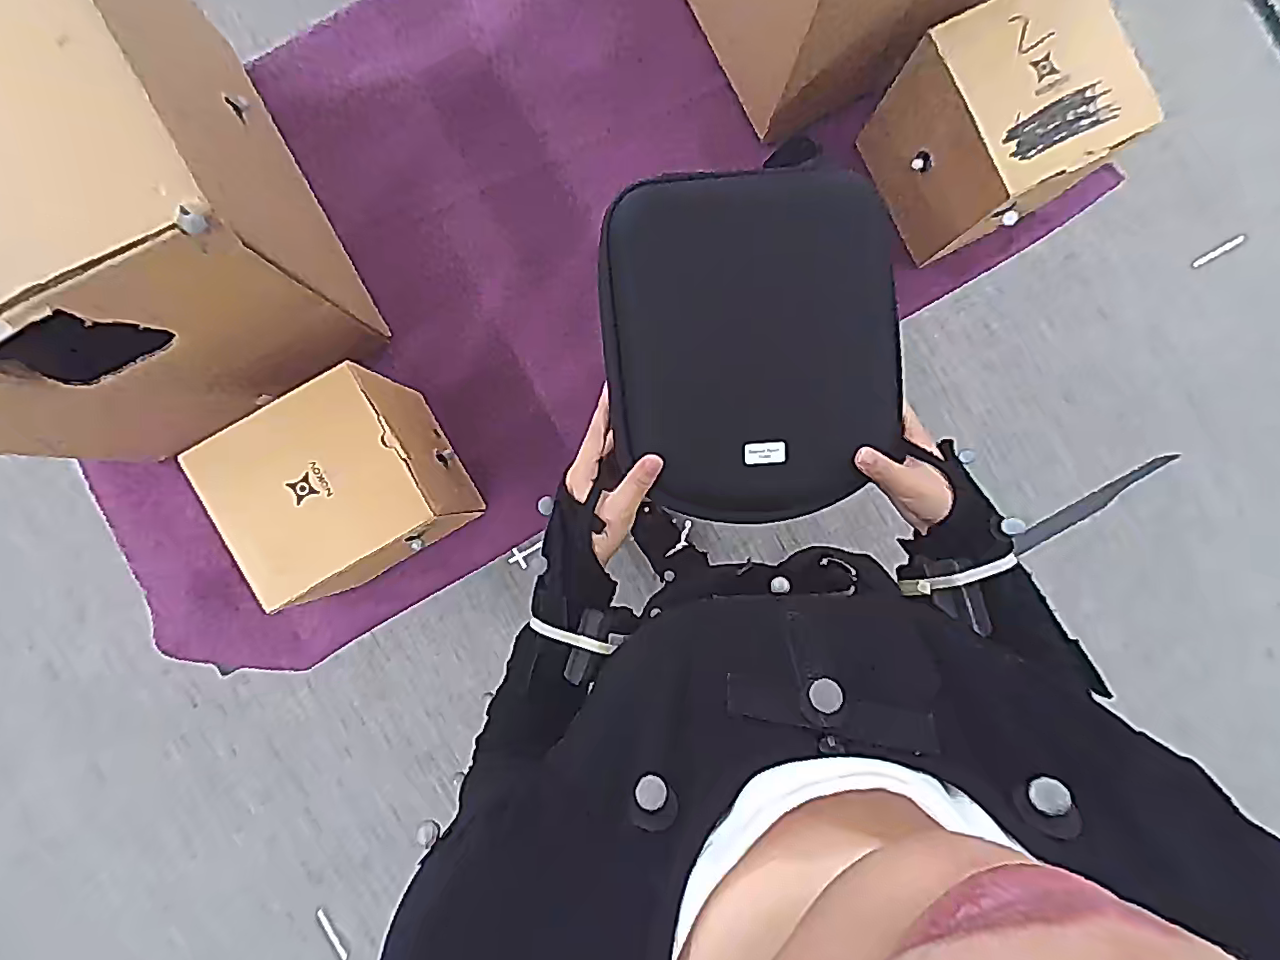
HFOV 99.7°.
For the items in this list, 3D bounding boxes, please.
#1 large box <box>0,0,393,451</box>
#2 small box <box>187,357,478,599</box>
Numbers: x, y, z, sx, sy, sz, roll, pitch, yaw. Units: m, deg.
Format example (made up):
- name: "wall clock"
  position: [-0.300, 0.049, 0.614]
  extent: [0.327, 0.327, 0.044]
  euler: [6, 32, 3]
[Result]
- name: "large box"
  position: [-0.516, -0.274, 0.499]
  extent: [0.320, 0.320, 0.408]
  euler: [-30, 93, -2]
- name: "small box"
  position: [-0.303, 0.001, 0.574]
  extent: [0.179, 0.176, 0.168]
  euler: [-31, 89, -2]
